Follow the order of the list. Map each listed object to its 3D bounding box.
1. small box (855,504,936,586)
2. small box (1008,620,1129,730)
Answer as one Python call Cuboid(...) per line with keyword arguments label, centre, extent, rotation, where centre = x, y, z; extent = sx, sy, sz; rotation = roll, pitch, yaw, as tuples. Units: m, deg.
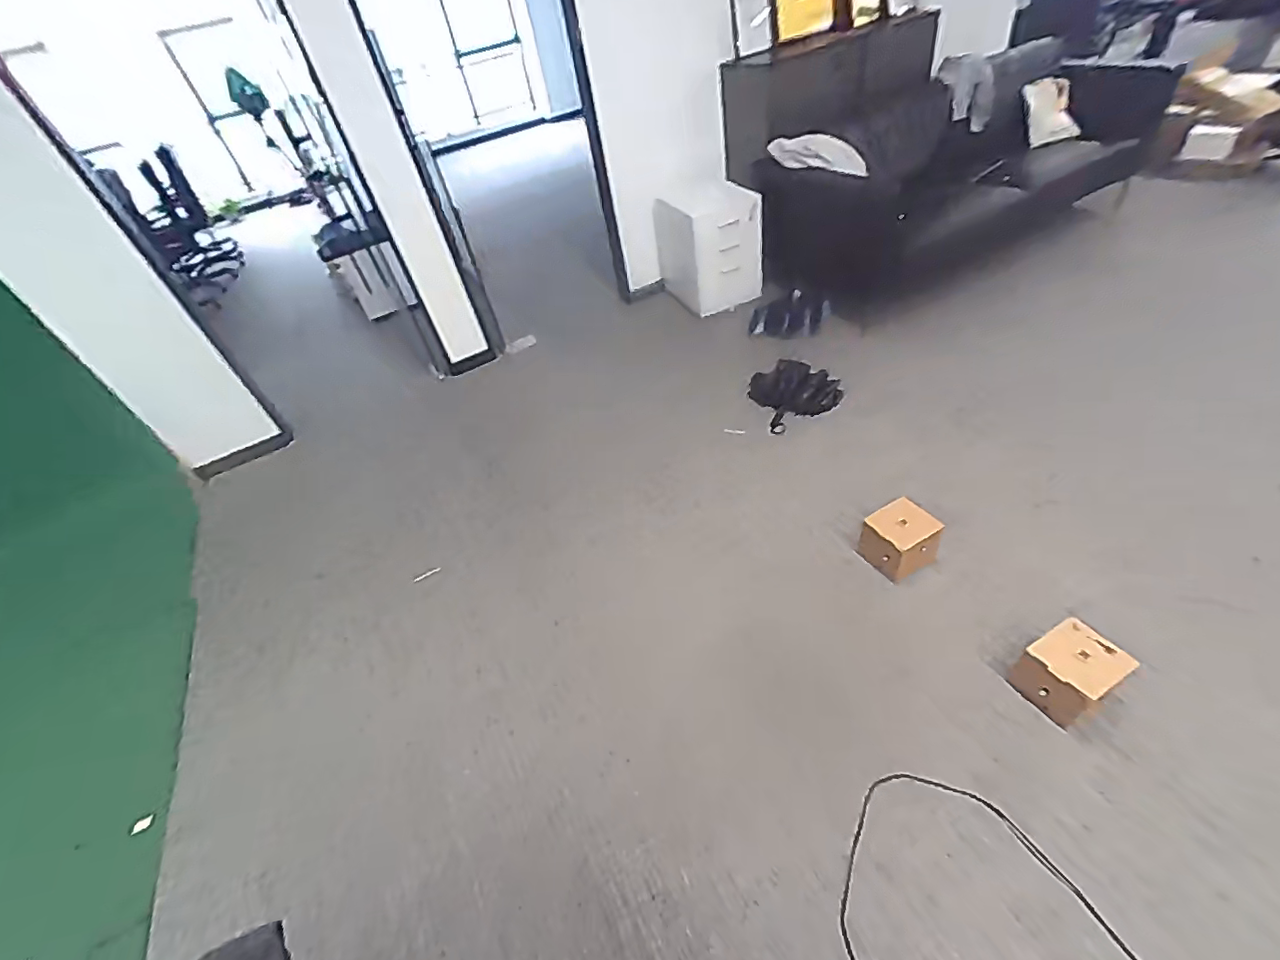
Cuboid(label="small box", centre=(0.833, 0.218, 1.780), extent=(0.179, 0.176, 0.168), rotation=(-26, 44, -17))
Cuboid(label="small box", centre=(1.089, 0.506, 1.393), extent=(0.179, 0.176, 0.168), rotation=(-27, 43, -14))
